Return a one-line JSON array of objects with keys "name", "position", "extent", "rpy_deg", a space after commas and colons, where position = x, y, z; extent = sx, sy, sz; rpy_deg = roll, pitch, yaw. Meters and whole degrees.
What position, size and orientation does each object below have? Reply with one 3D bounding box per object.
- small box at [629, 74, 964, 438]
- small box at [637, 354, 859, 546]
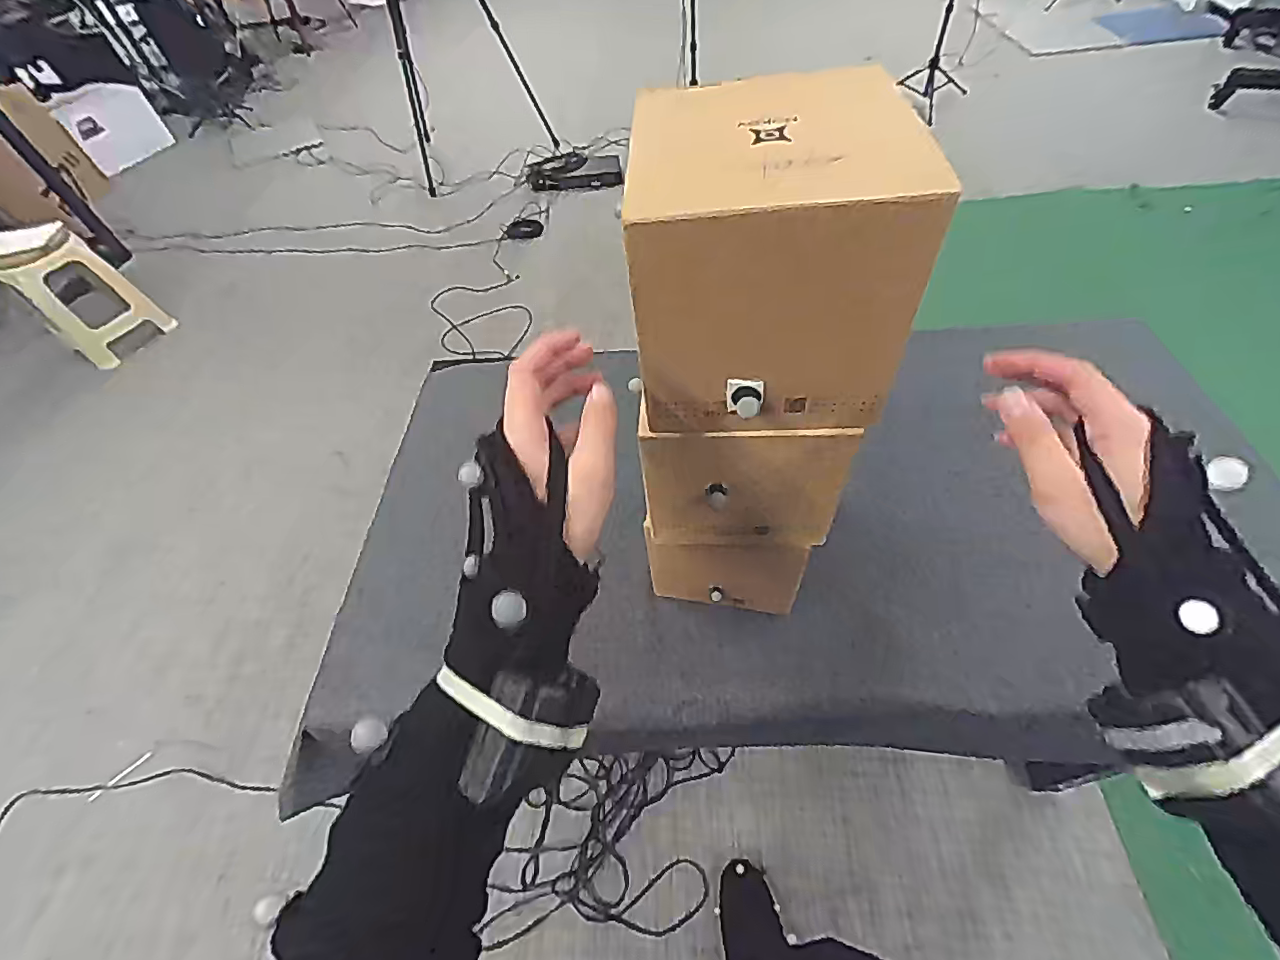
[{"name": "small box", "position": [0.086, -0.149, 0.380], "extent": [0.168, 0.176, 0.179], "rpy_deg": [-2, 54, 6]}, {"name": "small box", "position": [0.093, -0.050, 0.509], "extent": [0.168, 0.176, 0.179], "rpy_deg": [0, 53, 6]}]
